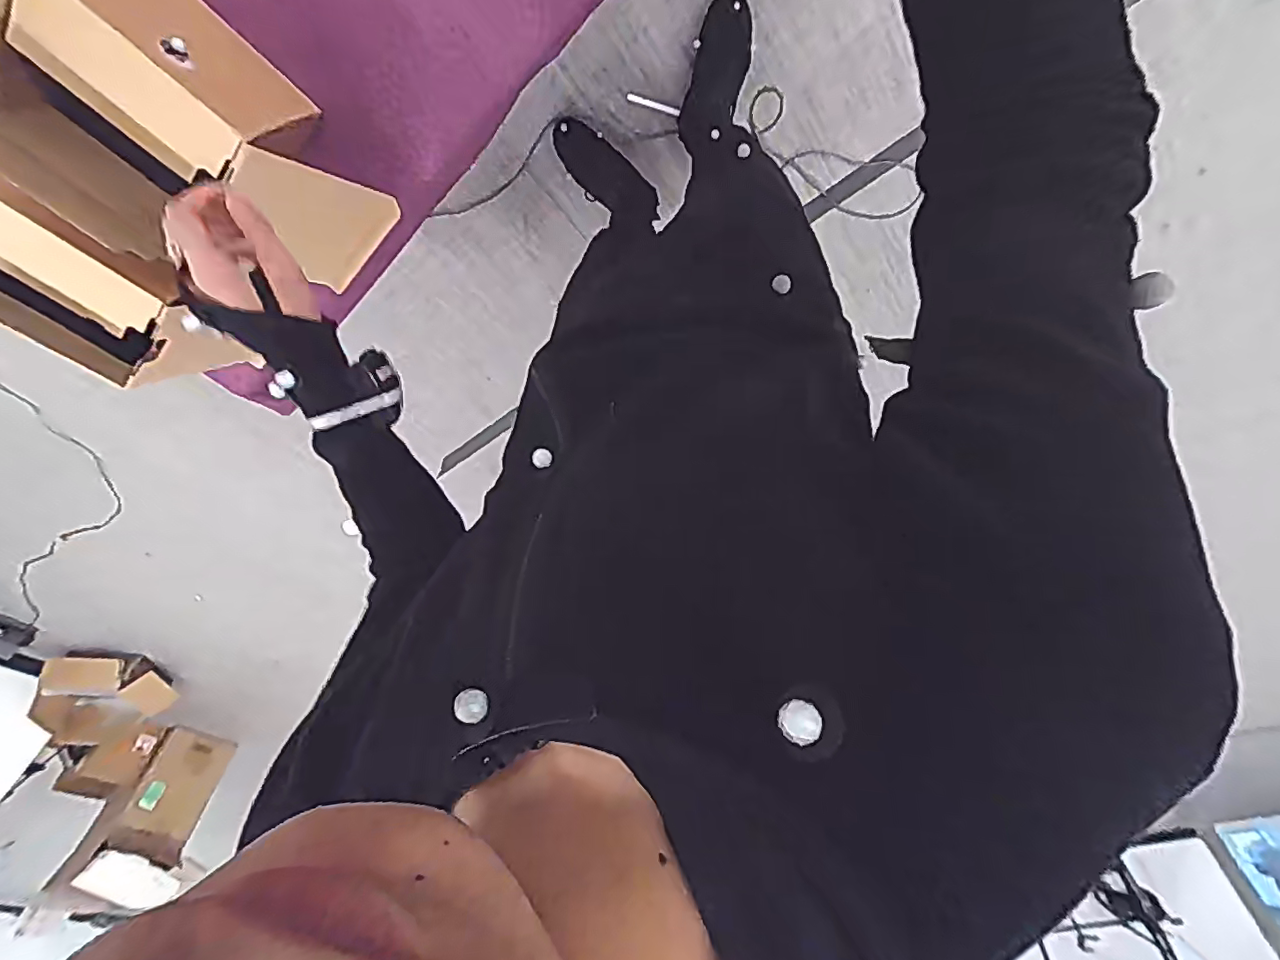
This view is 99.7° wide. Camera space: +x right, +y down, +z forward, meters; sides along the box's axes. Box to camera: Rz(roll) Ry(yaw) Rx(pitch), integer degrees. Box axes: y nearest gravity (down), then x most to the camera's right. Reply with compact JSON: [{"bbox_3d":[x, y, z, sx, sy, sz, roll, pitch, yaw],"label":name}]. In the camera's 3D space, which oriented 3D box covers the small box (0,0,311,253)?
[{"bbox_3d":[-0.481,-0.377,0.548,0.168,0.176,0.179,-33,124,27],"label":"small box"}]
